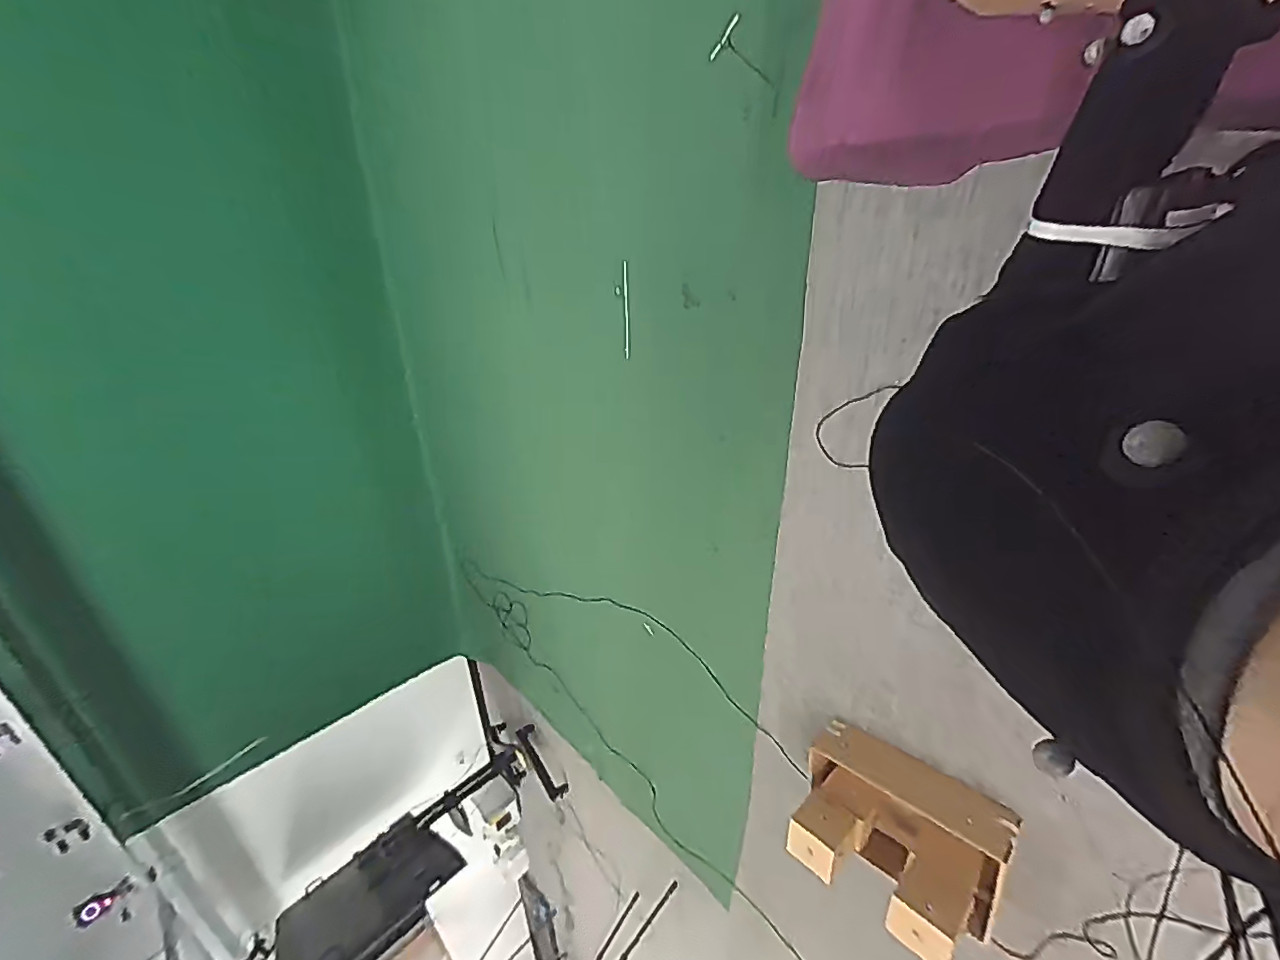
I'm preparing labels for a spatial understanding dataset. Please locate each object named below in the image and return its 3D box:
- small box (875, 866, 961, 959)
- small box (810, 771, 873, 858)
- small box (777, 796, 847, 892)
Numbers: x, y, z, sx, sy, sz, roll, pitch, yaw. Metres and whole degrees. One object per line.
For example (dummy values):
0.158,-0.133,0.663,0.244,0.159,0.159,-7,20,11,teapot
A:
0.842,1.329,1.634,0.179,0.176,0.168,21,121,42,small box
0.724,1.205,1.965,0.179,0.176,0.168,20,121,41,small box
0.596,1.249,1.869,0.168,0.176,0.179,21,123,42,small box
